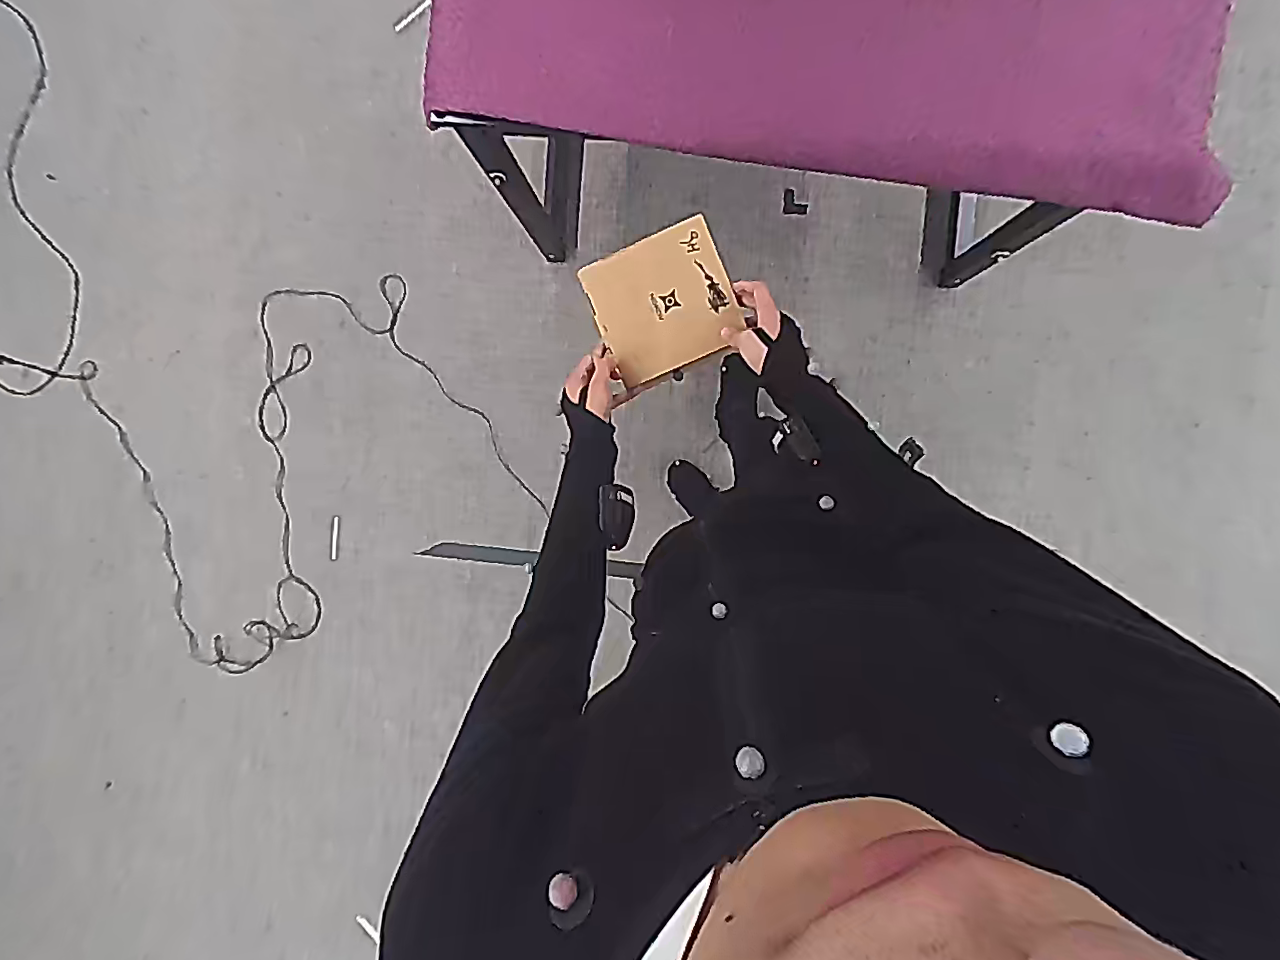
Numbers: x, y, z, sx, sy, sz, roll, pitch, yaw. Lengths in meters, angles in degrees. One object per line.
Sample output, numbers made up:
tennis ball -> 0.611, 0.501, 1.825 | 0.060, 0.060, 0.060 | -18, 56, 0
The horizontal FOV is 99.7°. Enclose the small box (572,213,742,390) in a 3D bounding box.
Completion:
small box -> 0.028, -0.236, 0.768 | 0.179, 0.176, 0.168 | -23, 95, 6
